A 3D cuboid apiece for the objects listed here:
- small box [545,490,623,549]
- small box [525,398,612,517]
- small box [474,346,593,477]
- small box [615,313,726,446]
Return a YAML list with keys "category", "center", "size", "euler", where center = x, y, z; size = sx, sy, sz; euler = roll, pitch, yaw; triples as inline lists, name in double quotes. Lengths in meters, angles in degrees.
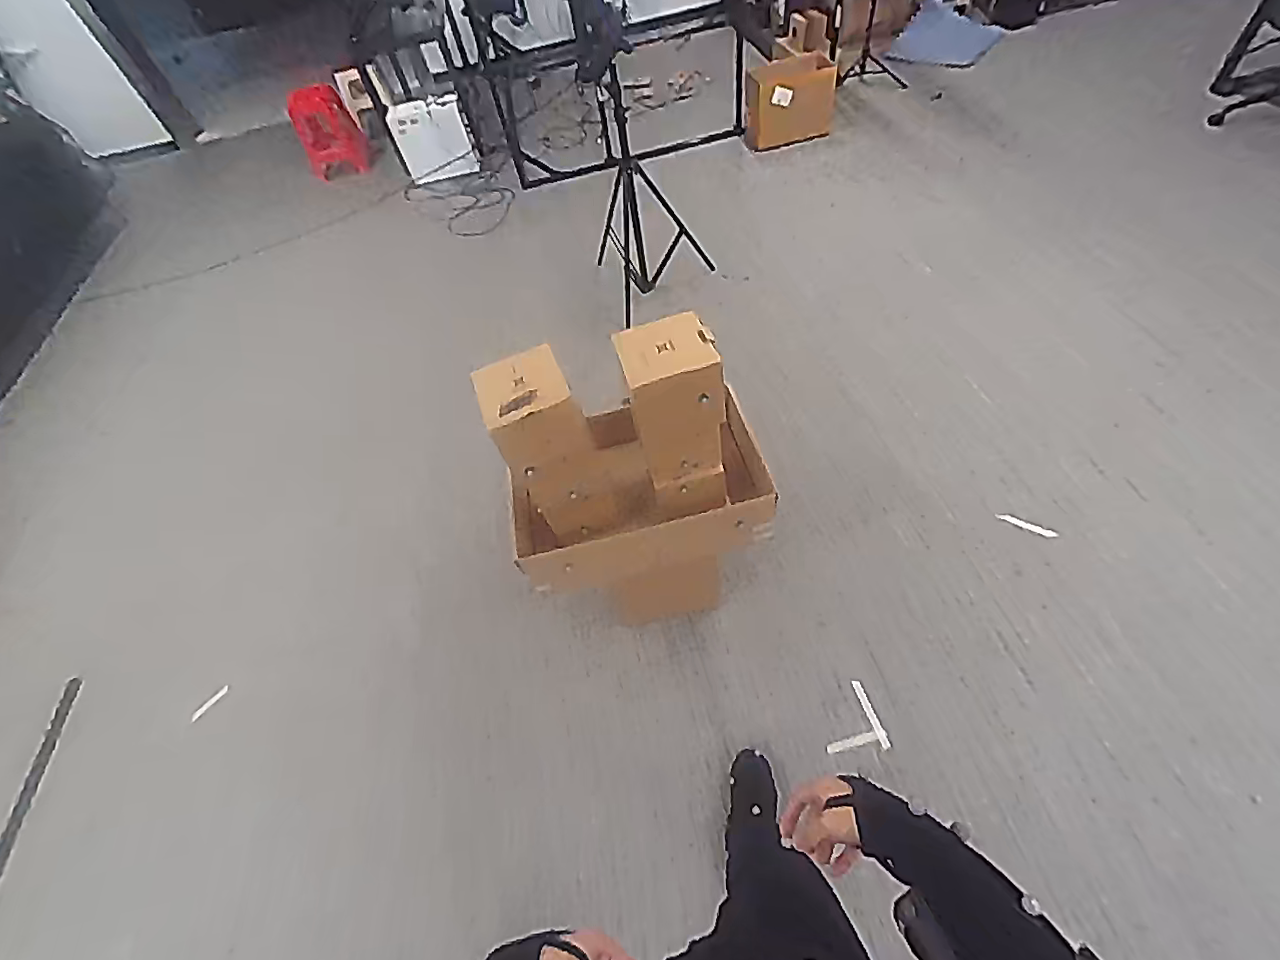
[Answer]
- category: "small box"
  center: [-0.153, 0.041, 1.355]
  size: [0.168, 0.176, 0.179]
  euler: [-21, 54, -4]
- category: "small box"
  center: [-0.174, -0.047, 1.217]
  size: [0.168, 0.176, 0.179]
  euler: [-21, 54, -4]
- category: "small box"
  center: [-0.207, -0.127, 1.076]
  size: [0.168, 0.176, 0.179]
  euler: [-23, 53, -6]
- category: "small box"
  center: [0.063, -0.195, 1.072]
  size: [0.179, 0.176, 0.168]
  euler: [-17, 52, -2]
